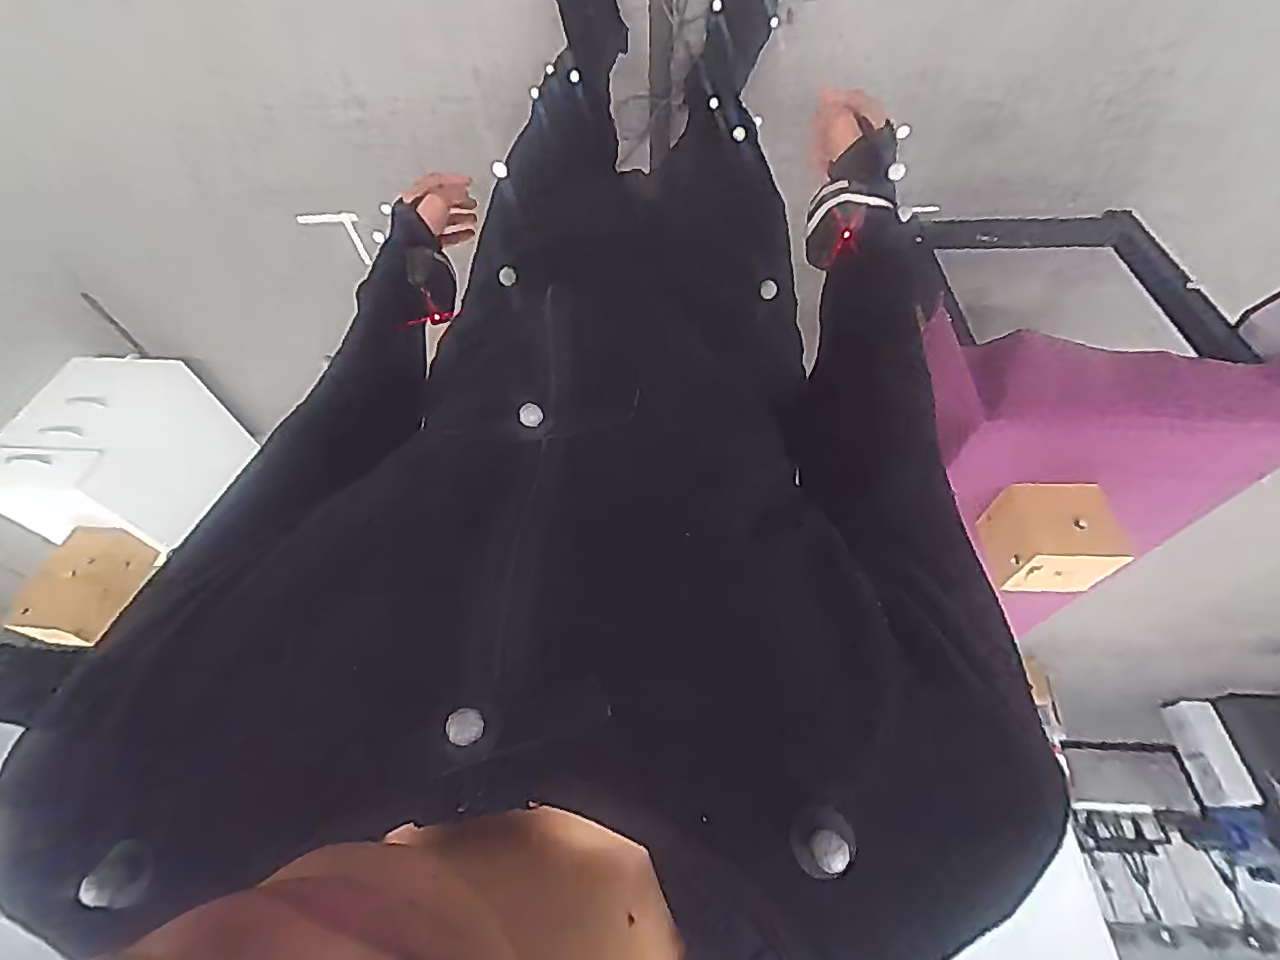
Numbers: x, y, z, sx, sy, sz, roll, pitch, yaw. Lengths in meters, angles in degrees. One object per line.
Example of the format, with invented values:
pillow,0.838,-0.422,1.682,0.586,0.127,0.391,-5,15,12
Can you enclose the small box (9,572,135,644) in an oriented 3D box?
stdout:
small box,-1.769,0.400,1.698,0.179,0.176,0.168,4,146,0

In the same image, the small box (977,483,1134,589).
small box,0.850,0.117,1.128,0.179,0.176,0.168,0,145,4
